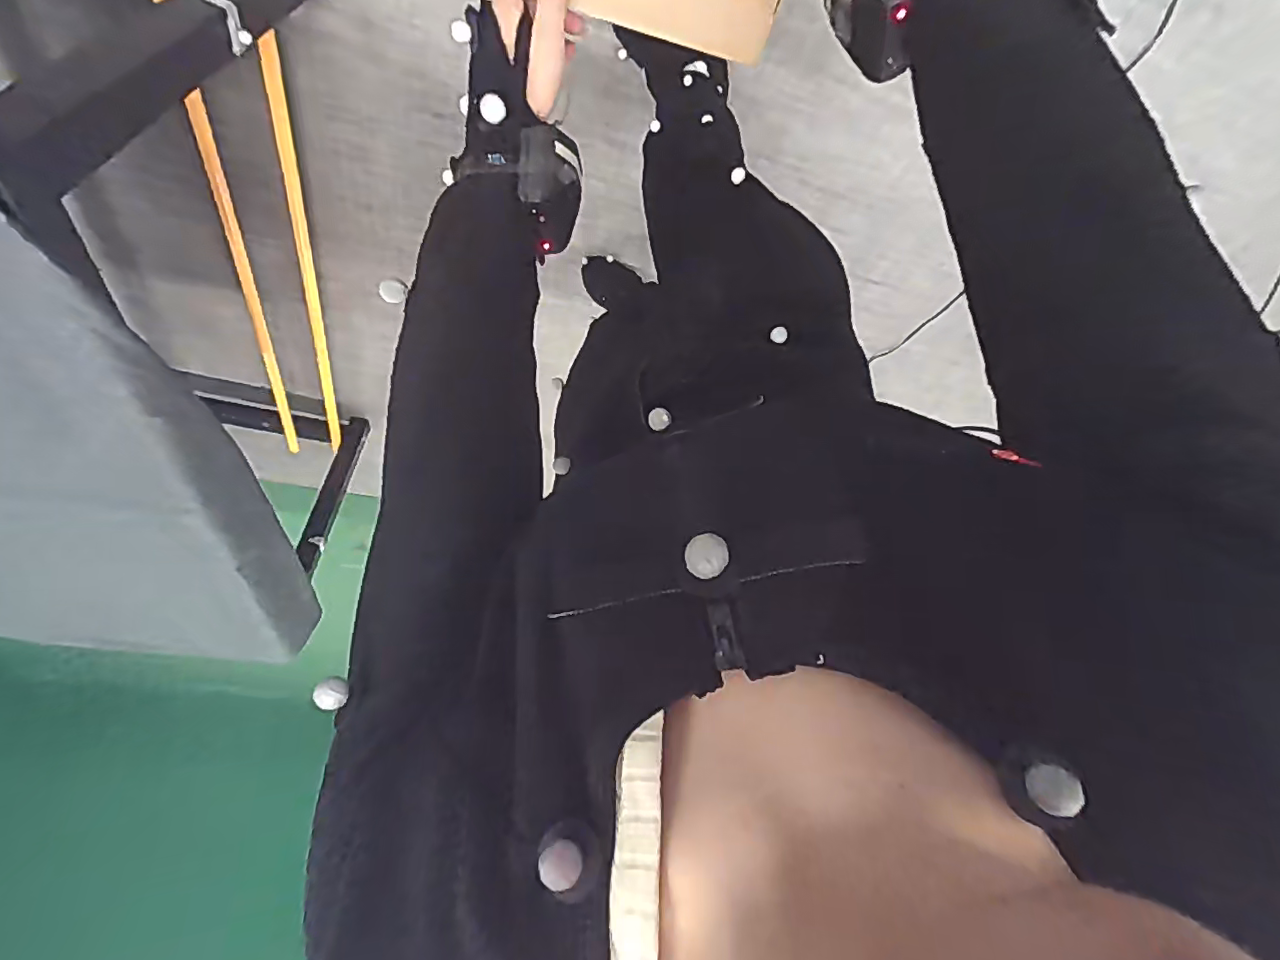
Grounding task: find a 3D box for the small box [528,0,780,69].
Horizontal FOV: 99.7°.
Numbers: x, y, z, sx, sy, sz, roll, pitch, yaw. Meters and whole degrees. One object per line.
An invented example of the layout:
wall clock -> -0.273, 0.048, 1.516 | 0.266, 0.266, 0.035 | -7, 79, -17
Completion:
small box -> 0.022, -0.428, 0.371 | 0.179, 0.176, 0.168 | 9, 142, -11
